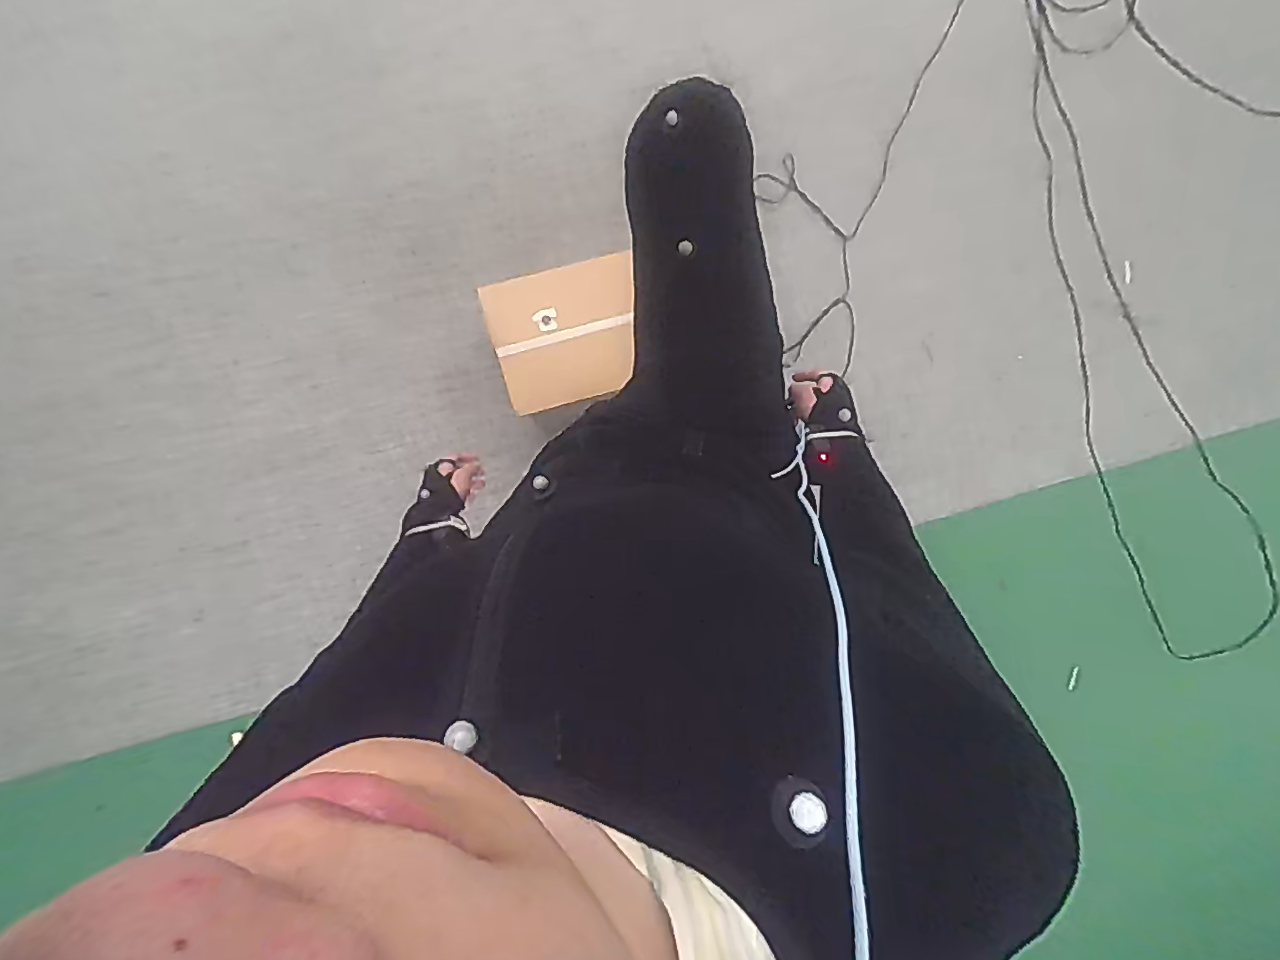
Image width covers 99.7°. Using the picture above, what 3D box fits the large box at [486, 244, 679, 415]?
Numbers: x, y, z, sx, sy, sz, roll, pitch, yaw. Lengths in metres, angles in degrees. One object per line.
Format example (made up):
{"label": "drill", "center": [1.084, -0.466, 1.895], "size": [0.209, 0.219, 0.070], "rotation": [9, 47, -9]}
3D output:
{"label": "large box", "center": [-0.144, -0.379, 1.443], "size": [0.408, 0.320, 0.320], "rotation": [-17, 97, -2]}
